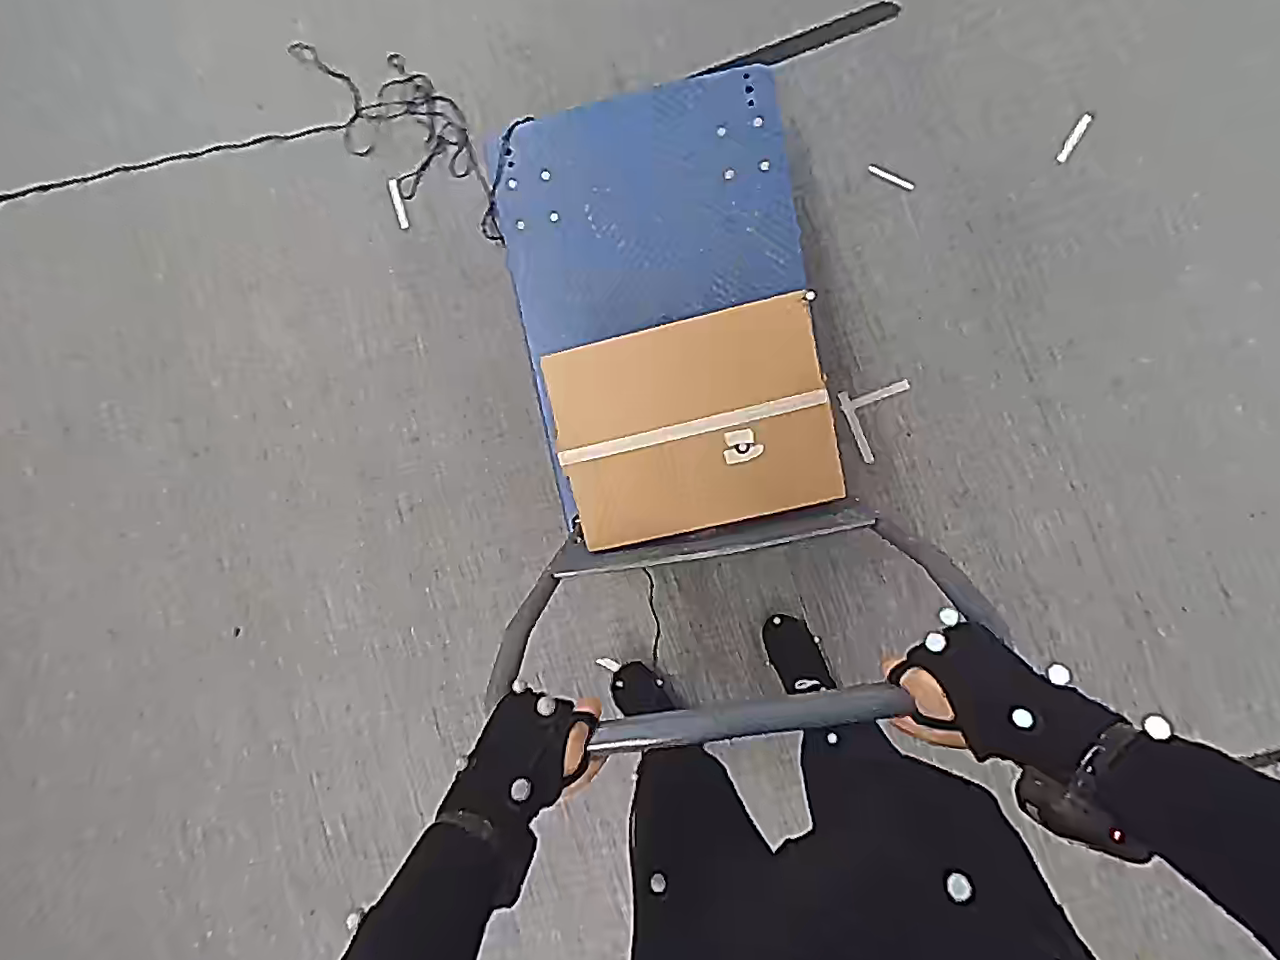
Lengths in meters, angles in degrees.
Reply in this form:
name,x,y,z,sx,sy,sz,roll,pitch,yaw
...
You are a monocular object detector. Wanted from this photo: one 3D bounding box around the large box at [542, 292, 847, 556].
name,x,y,z,sx,sy,sz,roll,pitch,yaw
large box,0.087,-0.090,0.945,0.408,0.320,0.320,-13,96,5
